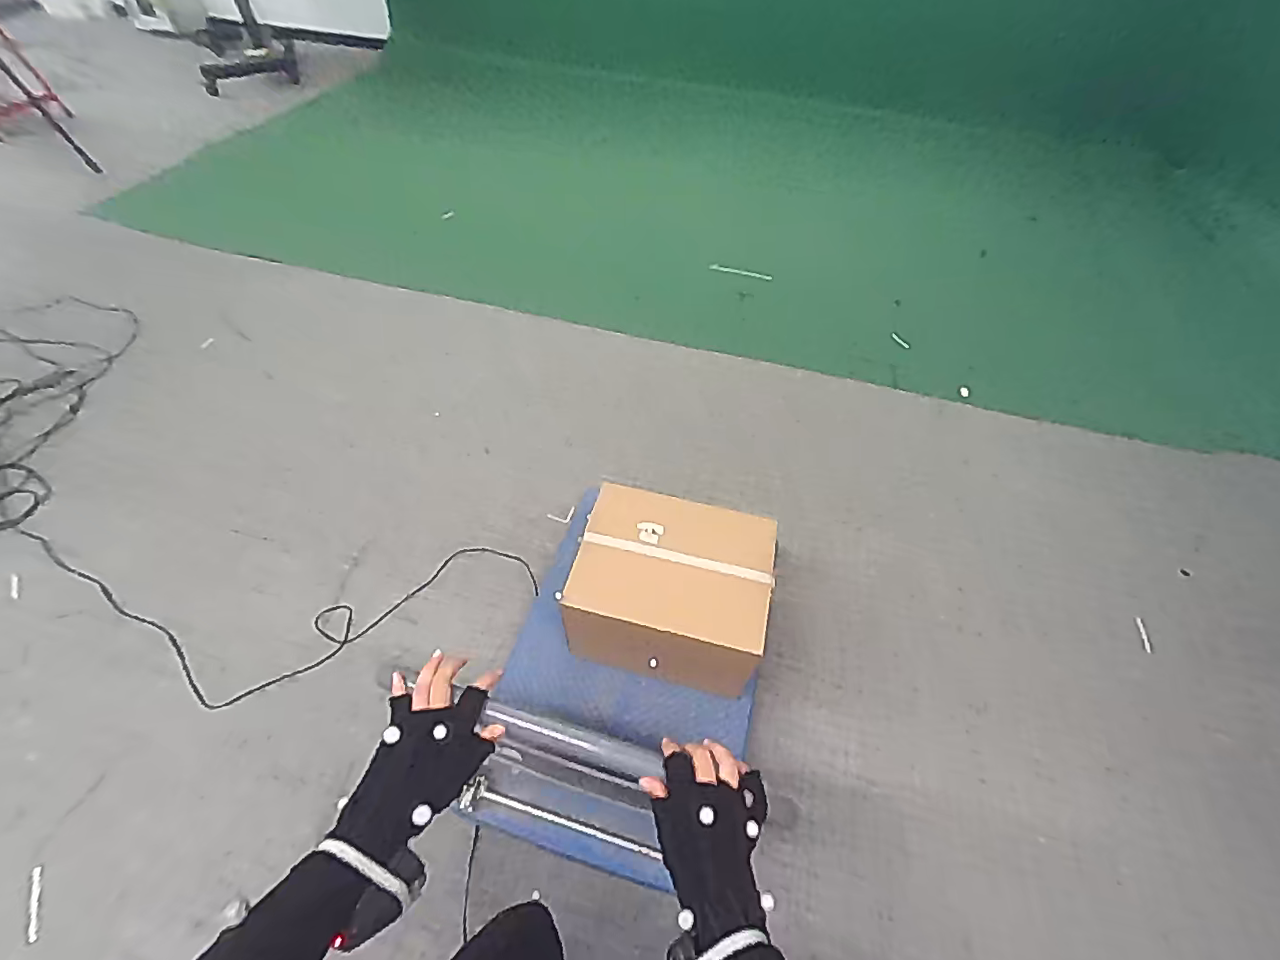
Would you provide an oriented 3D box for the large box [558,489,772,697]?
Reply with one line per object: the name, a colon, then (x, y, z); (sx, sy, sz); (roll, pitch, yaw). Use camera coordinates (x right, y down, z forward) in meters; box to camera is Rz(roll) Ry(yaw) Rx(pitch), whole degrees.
large box: (0.066, 0.264, 1.246); (0.408, 0.320, 0.320); (12, 52, 8)
